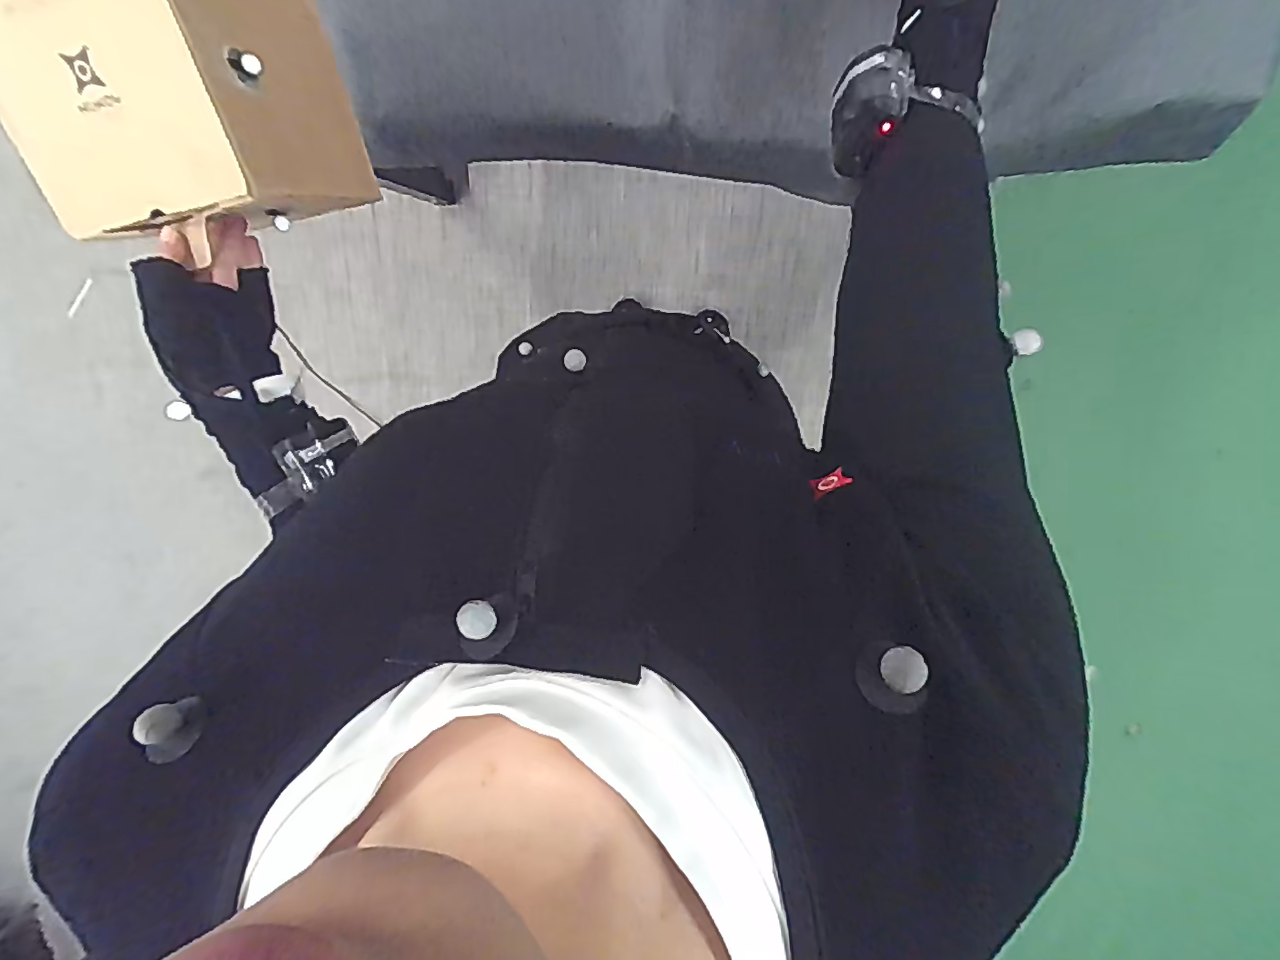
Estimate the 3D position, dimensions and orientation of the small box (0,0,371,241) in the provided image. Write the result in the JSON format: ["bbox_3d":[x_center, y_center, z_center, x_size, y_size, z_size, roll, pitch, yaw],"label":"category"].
[{"bbox_3d":[-0.349,-0.298,0.419,0.168,0.176,0.179,-7,115,11],"label":"small box"}]
